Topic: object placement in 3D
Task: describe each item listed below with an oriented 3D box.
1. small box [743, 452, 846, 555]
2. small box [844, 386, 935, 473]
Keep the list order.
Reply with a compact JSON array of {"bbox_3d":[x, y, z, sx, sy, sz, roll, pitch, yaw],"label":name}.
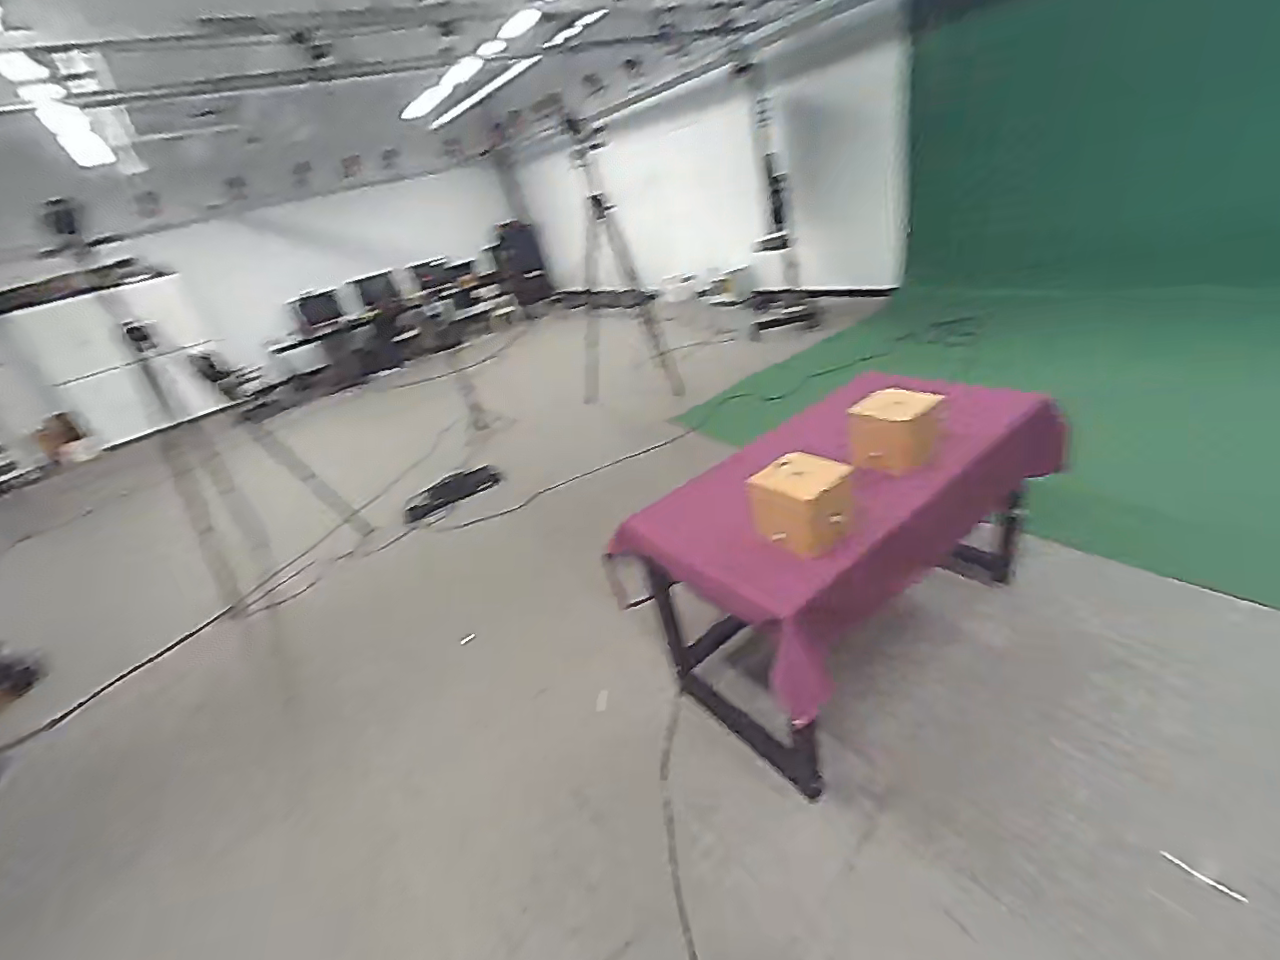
[{"bbox_3d":[0.379,0.057,1.308,0.168,0.176,0.179,-30,32,-27],"label":"small box"},{"bbox_3d":[0.693,-0.142,1.508,0.179,0.176,0.168,-30,31,-25],"label":"small box"}]
